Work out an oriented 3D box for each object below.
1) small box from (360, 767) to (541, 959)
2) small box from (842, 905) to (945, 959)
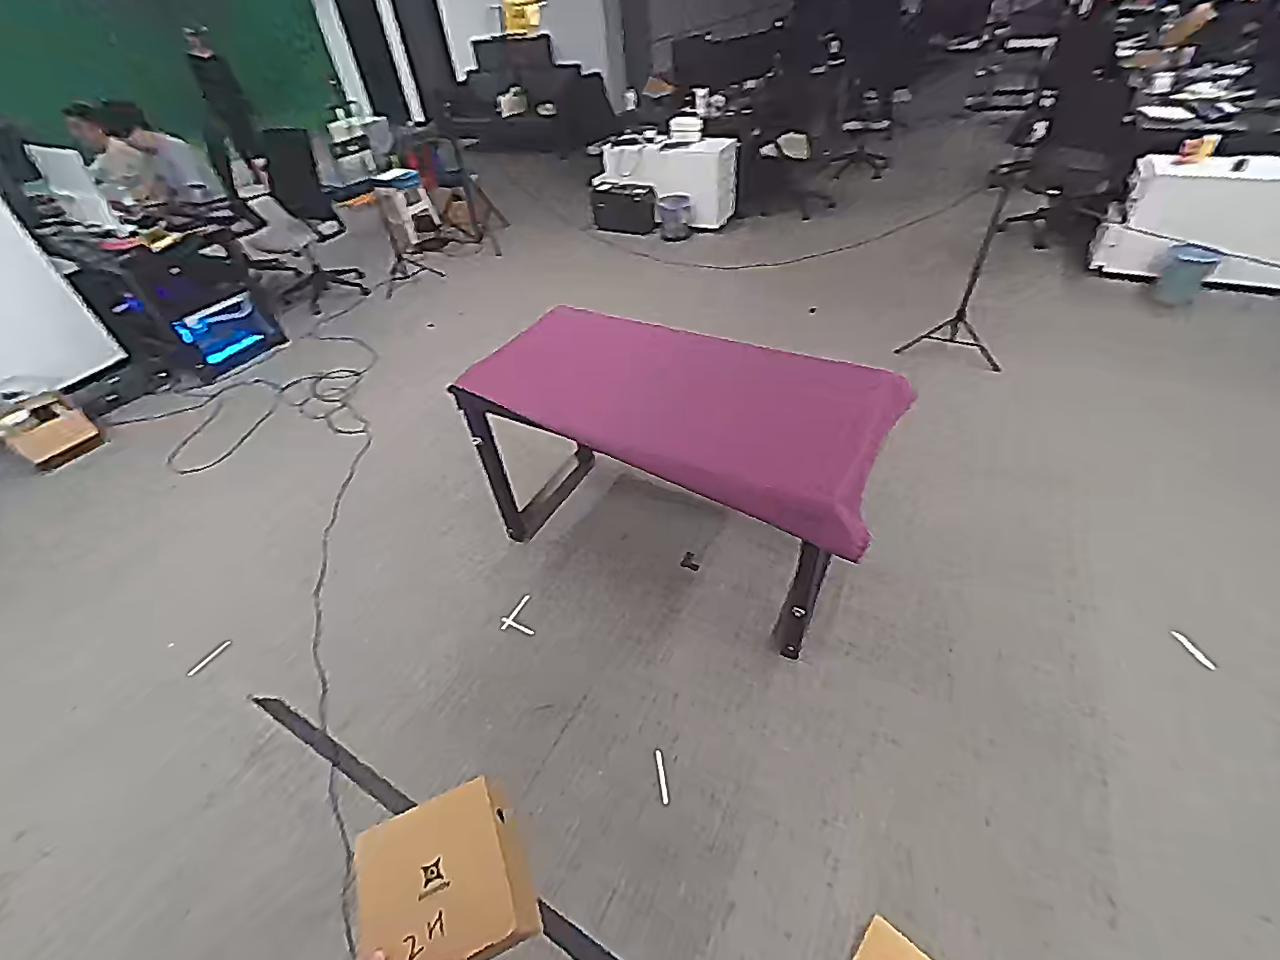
[{"bbox_3d":[-0.239,0.512,0.700,0.168,0.176,0.179,-20,53,-13],"label":"small box"},{"bbox_3d":[0.306,0.654,0.632,0.168,0.176,0.179,27,58,36],"label":"small box"}]
